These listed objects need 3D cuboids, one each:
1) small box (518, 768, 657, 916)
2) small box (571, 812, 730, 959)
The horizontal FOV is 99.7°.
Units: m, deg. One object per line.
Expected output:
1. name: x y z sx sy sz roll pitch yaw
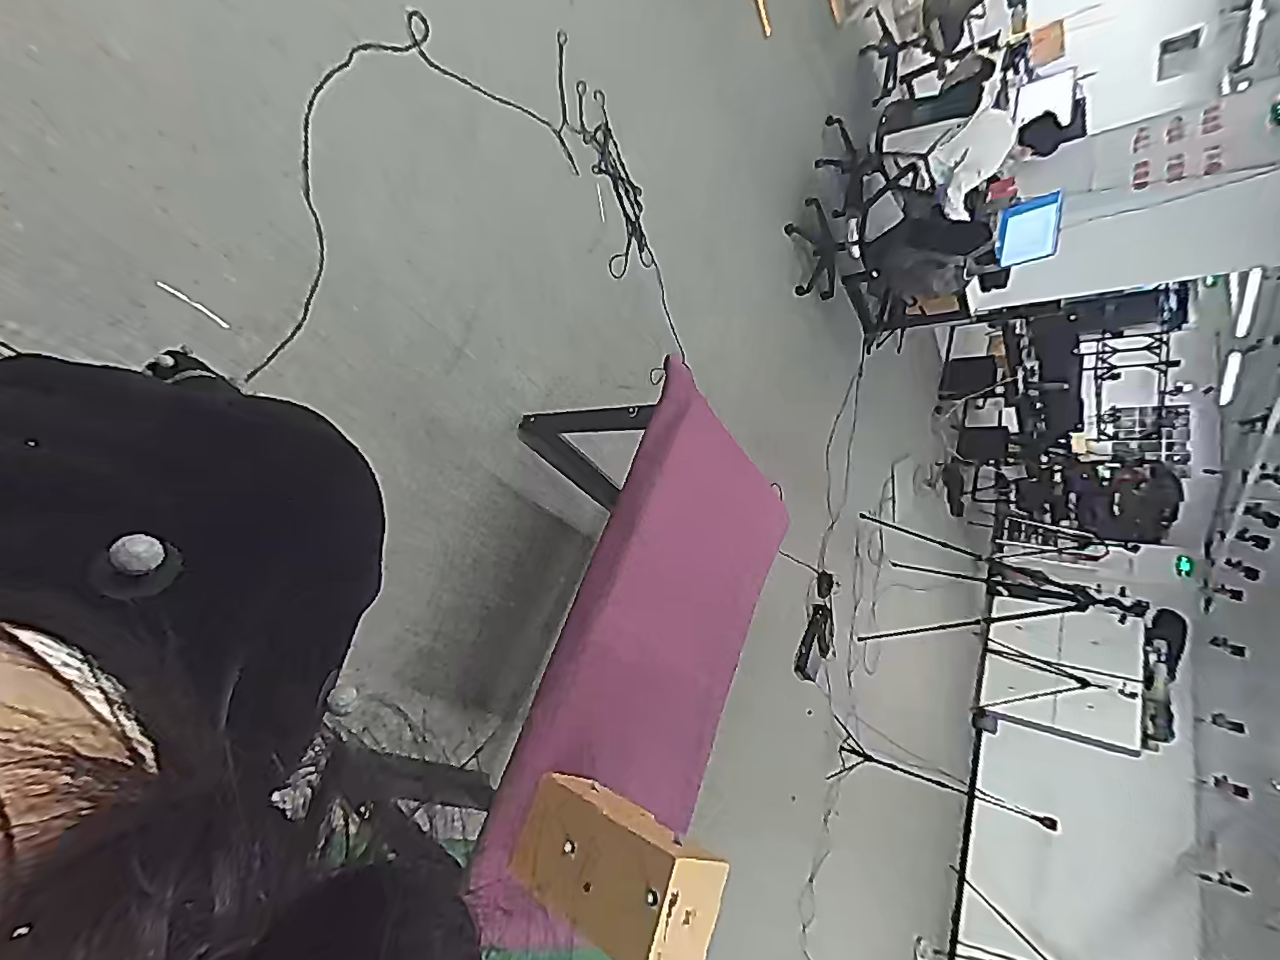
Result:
1. small box: -0.102 0.673 1.013 0.168 0.176 0.179 40 62 -40
2. small box: 0.019 0.681 0.902 0.179 0.176 0.168 41 61 -40
